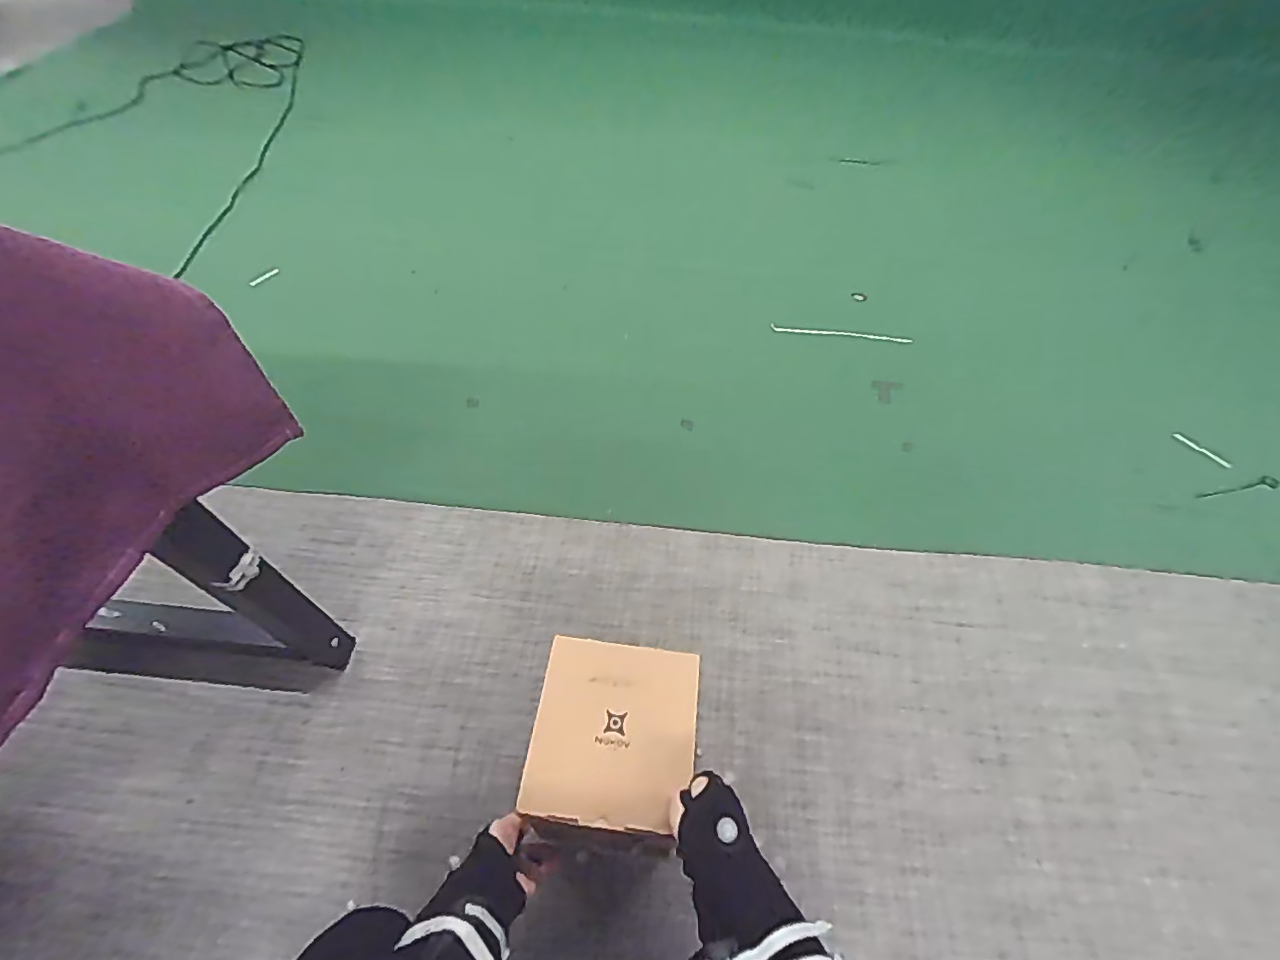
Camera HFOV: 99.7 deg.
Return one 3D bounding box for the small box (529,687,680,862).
[{"bbox_3d":[-0.041,0.408,0.743,0.168,0.176,0.179,8,53,3],"label":"small box"}]
